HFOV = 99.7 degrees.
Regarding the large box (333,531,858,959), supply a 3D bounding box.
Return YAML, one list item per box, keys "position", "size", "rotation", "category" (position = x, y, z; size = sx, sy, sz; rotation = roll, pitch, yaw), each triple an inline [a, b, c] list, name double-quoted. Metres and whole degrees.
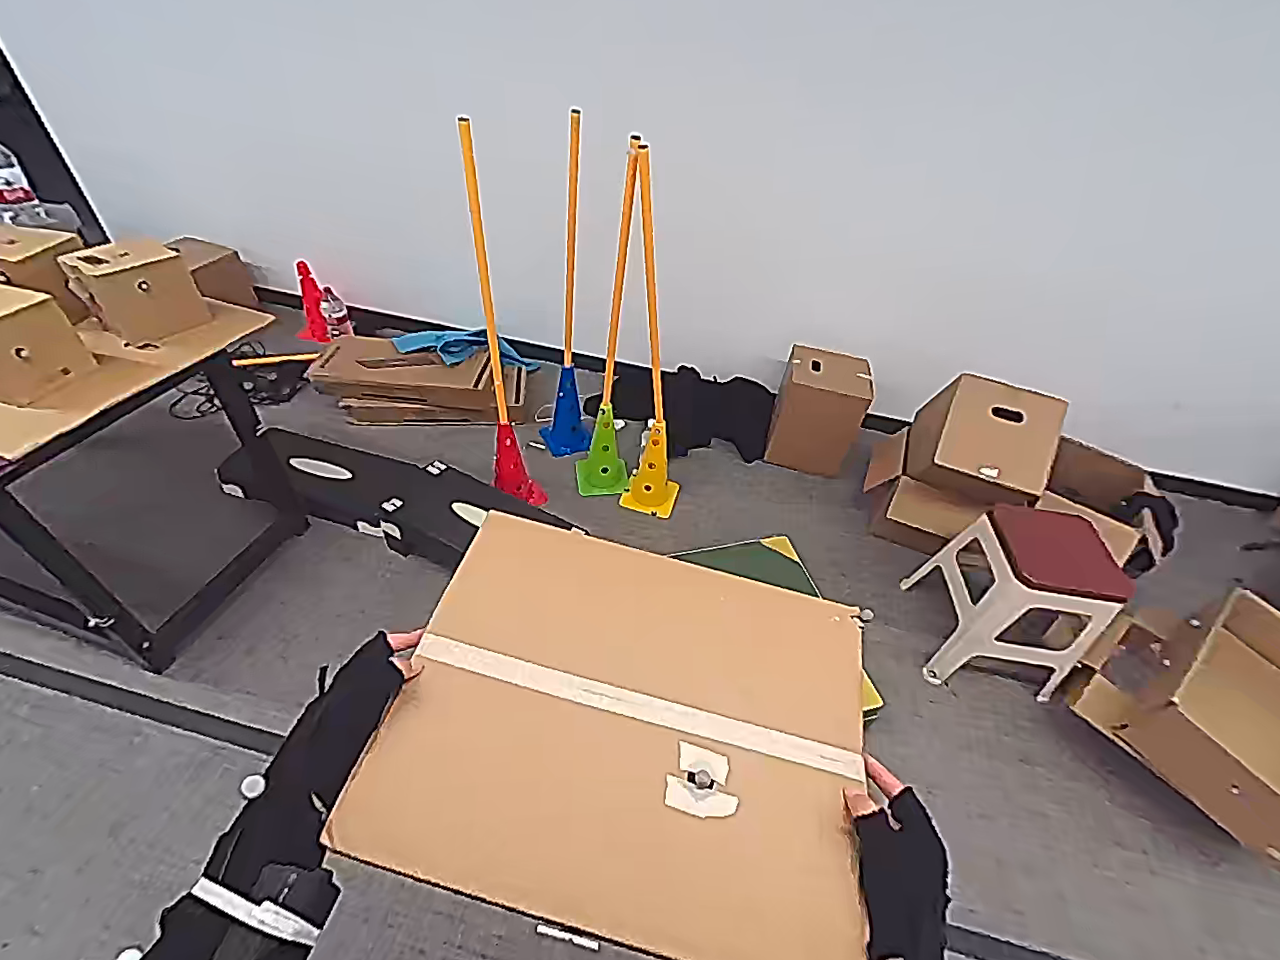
- position: [-0.024, 0.306, 0.597]
  size: [0.408, 0.320, 0.320]
  rotation: [15, 51, 3]
  category: "large box"
